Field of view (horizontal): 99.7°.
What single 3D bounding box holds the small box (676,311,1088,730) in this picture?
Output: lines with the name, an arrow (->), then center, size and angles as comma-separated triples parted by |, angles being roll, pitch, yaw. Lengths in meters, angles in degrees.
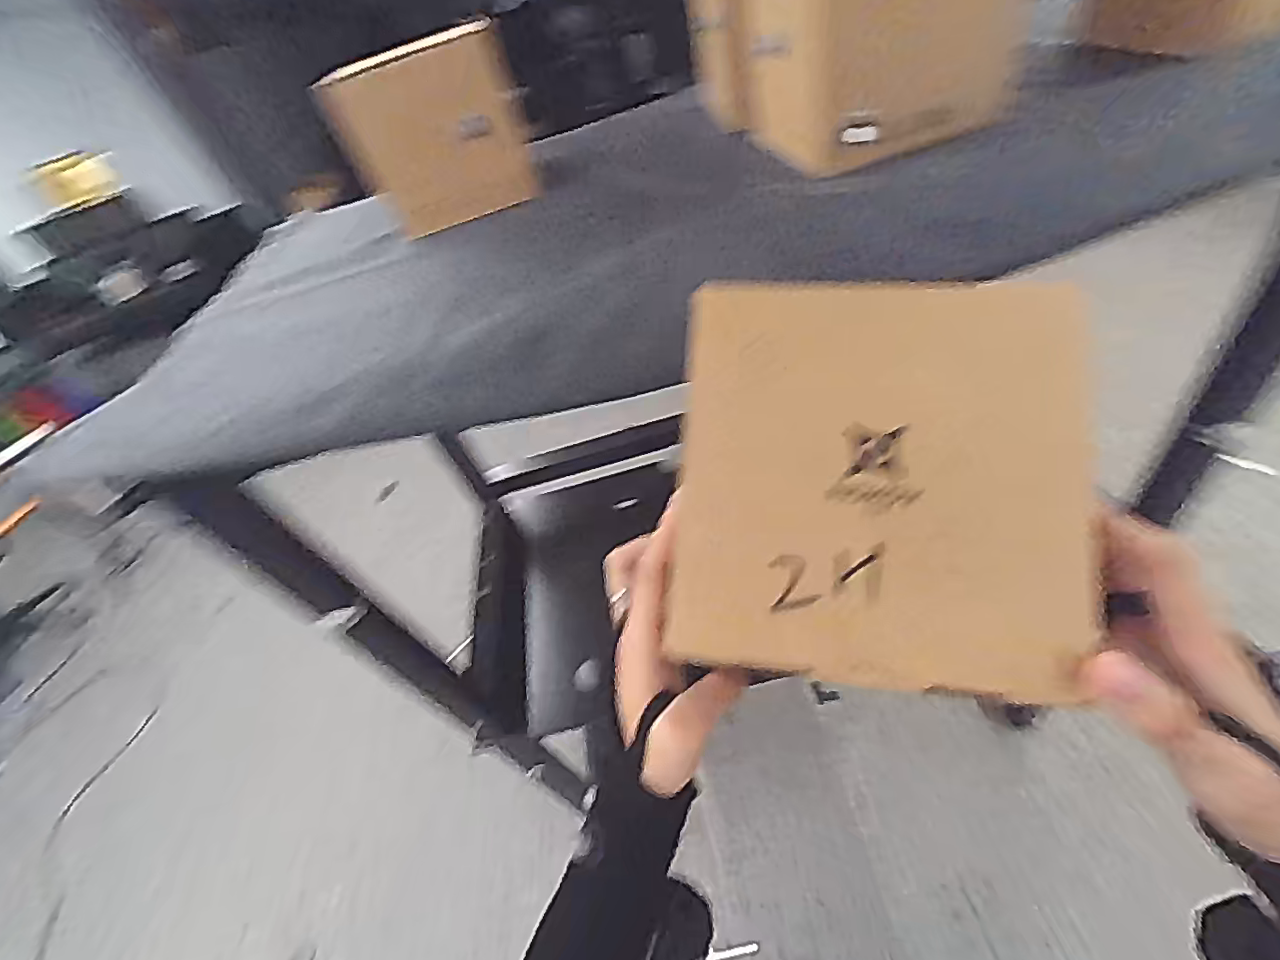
small box -> 0.118, 0.022, 0.318 | 0.168, 0.176, 0.179 | 4, 80, 11

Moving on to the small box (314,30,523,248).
small box -> -0.252, -0.416, 0.665 | 0.179, 0.176, 0.168 | -19, 44, 1
